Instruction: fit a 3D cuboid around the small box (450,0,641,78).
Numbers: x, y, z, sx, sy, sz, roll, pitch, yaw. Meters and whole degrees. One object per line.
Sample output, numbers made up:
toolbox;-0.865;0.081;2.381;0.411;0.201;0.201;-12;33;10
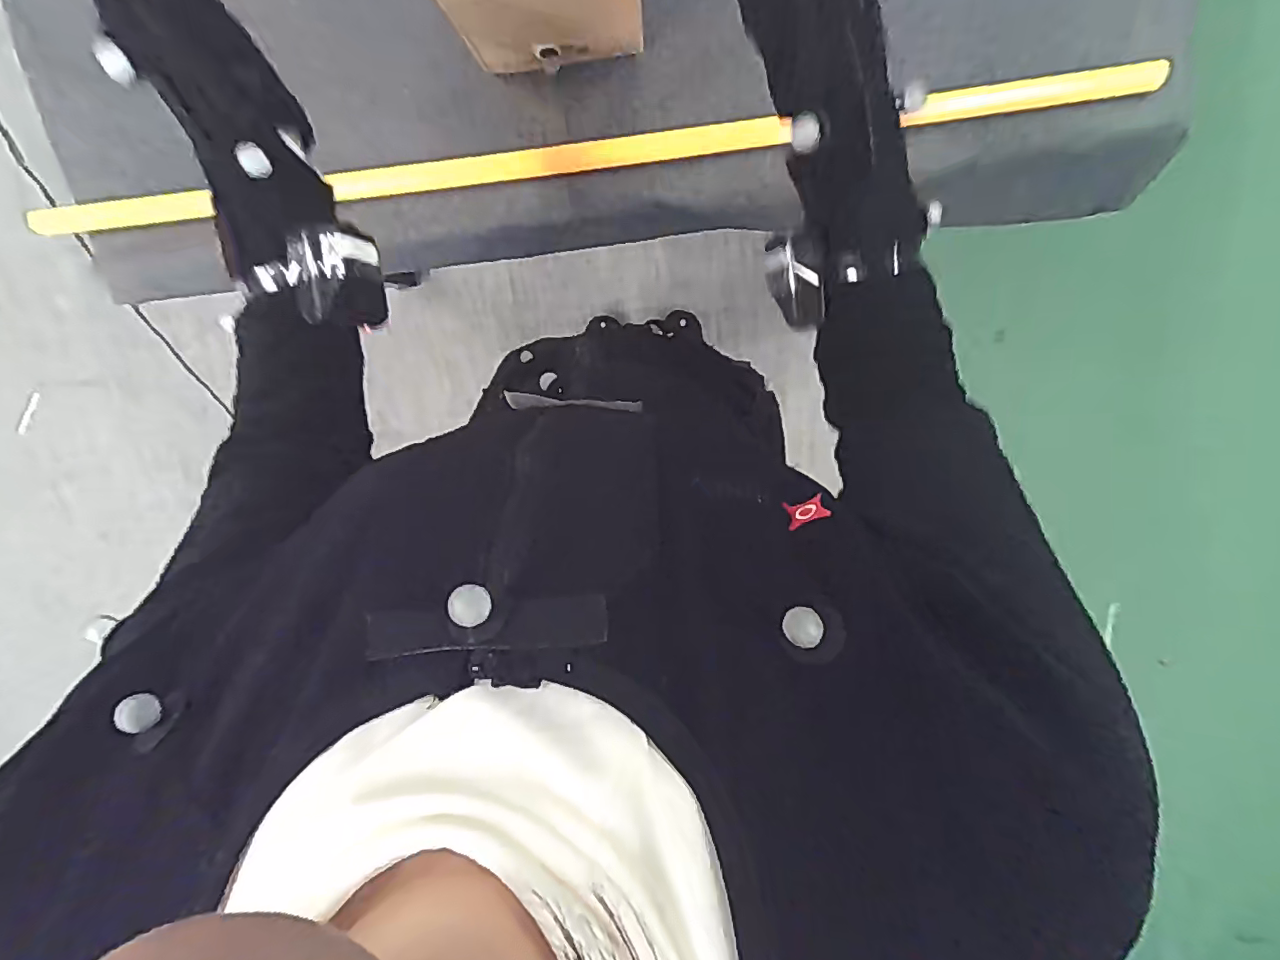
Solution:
small box;-0.091;-0.495;0.470;0.168;0.176;0.179;-7;107;4
